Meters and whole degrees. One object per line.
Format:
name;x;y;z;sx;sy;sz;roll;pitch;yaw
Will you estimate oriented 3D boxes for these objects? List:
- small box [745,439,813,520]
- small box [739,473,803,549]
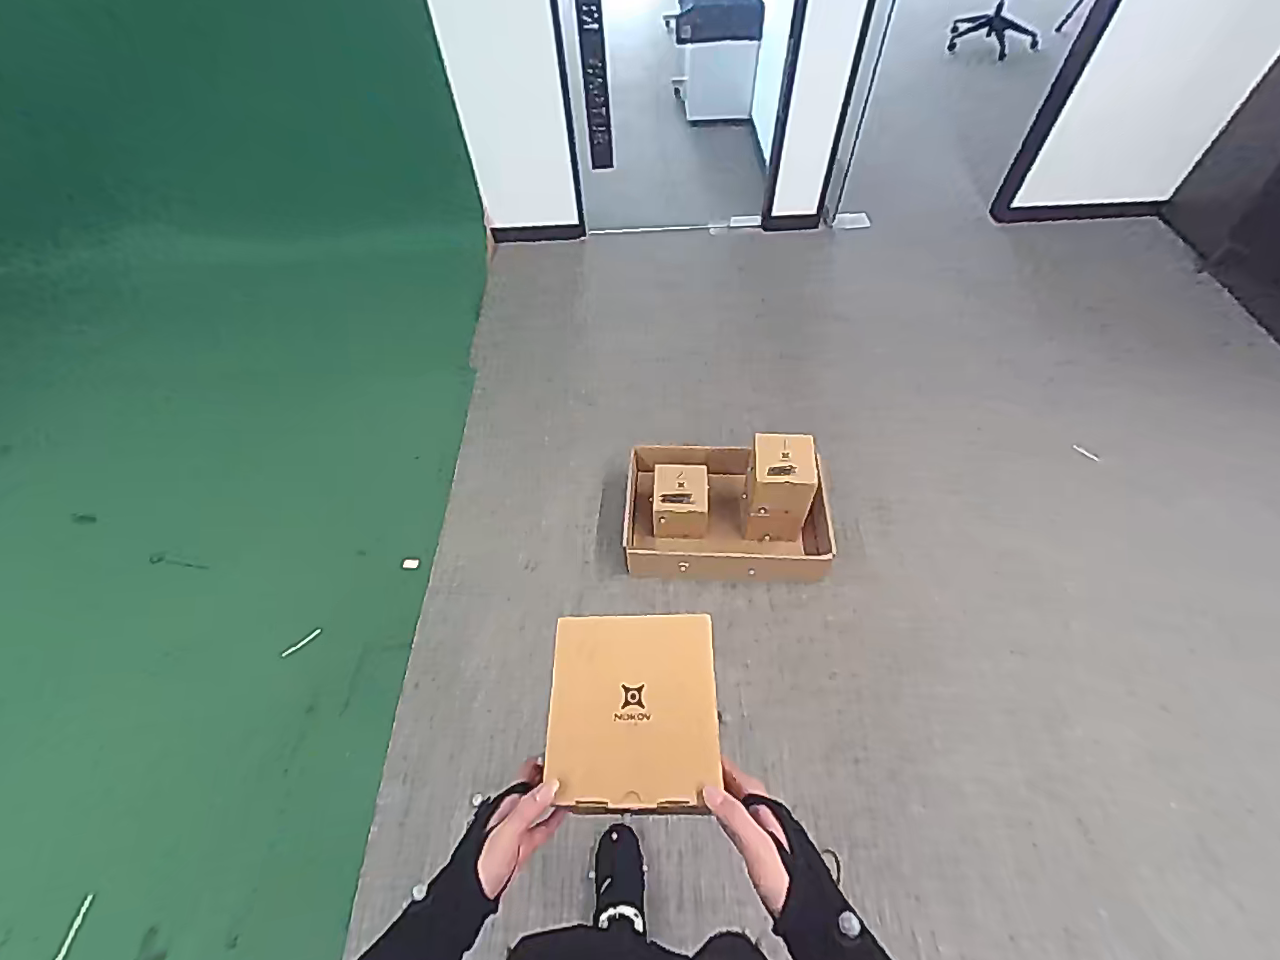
small box;0.399;0.002;1.568;0.168;0.176;0.179;3;53;5
small box;0.405;0.097;1.701;0.168;0.176;0.179;1;55;4
